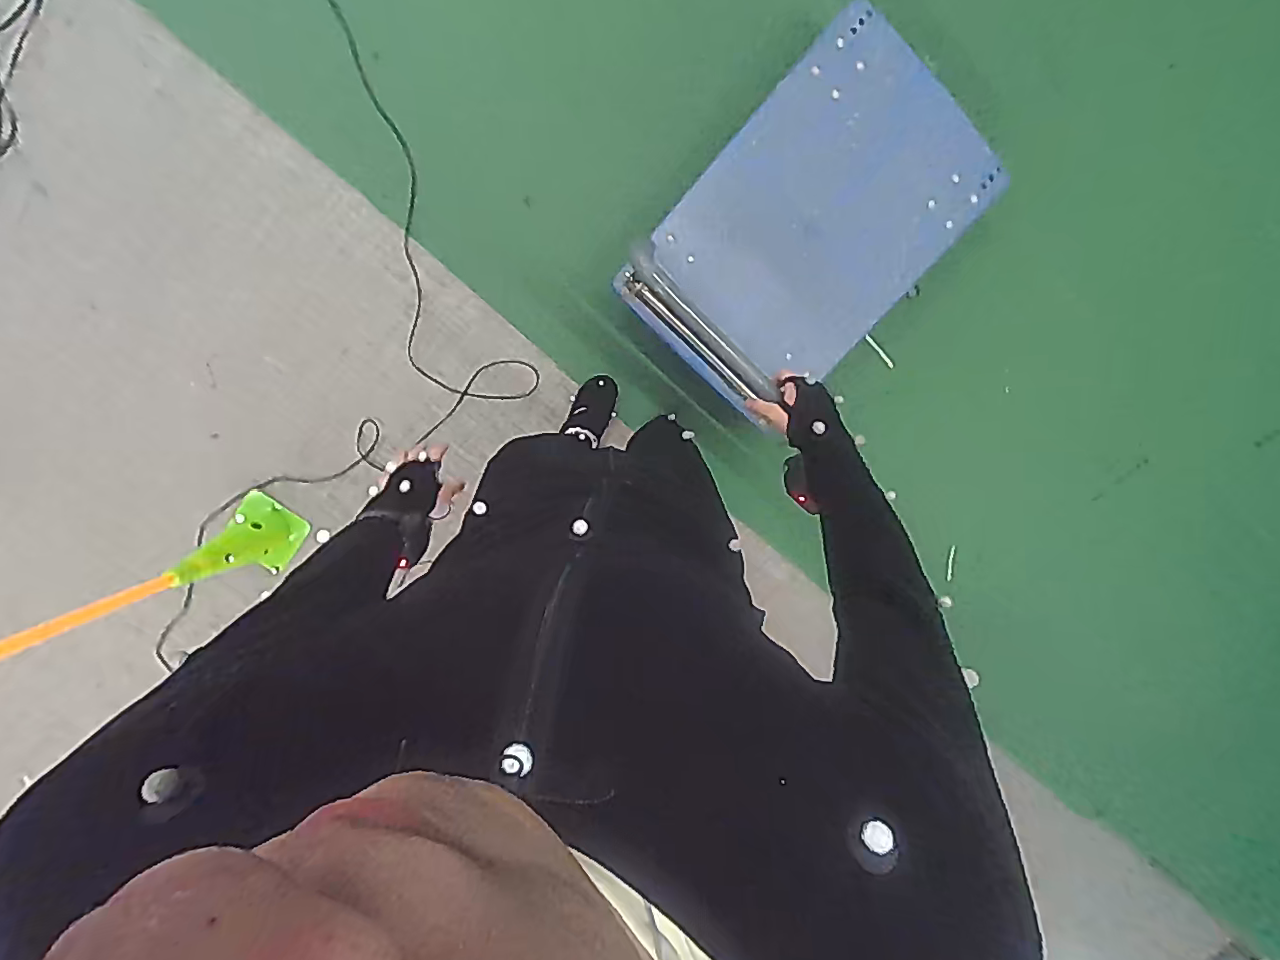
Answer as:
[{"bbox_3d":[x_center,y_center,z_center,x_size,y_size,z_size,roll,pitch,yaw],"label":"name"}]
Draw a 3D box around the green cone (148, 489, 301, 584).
[{"bbox_3d":[-1.125,0.186,1.432,0.202,0.368,0.200,37,99,-8],"label":"green cone"}]
